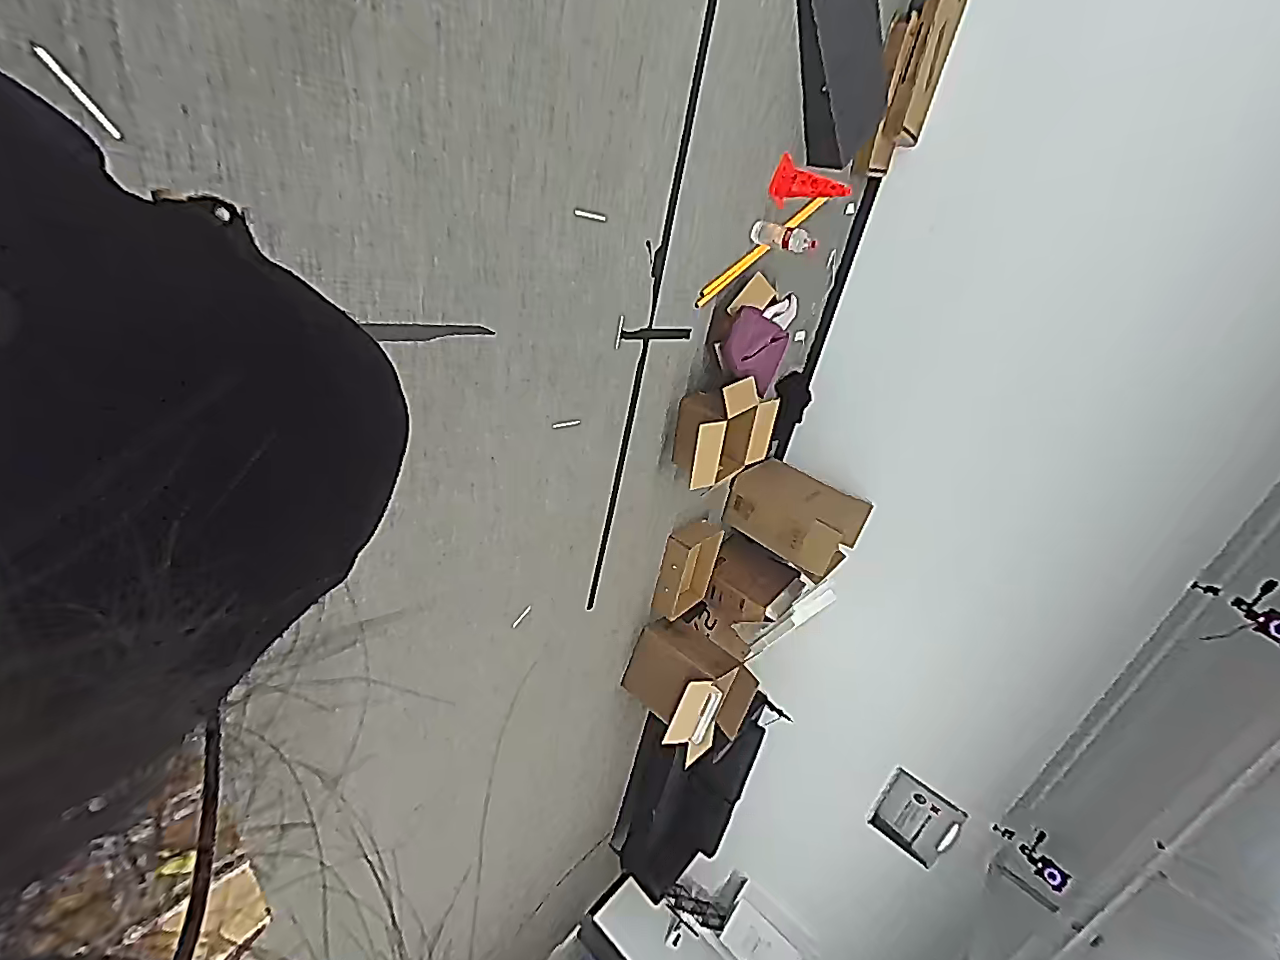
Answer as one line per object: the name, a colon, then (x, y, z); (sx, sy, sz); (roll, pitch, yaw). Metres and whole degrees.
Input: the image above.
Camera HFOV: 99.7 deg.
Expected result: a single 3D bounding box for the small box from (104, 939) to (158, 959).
small box: (-1.138, 1.155, 1.154); (0.179, 0.176, 0.168); (-26, 132, -41)
